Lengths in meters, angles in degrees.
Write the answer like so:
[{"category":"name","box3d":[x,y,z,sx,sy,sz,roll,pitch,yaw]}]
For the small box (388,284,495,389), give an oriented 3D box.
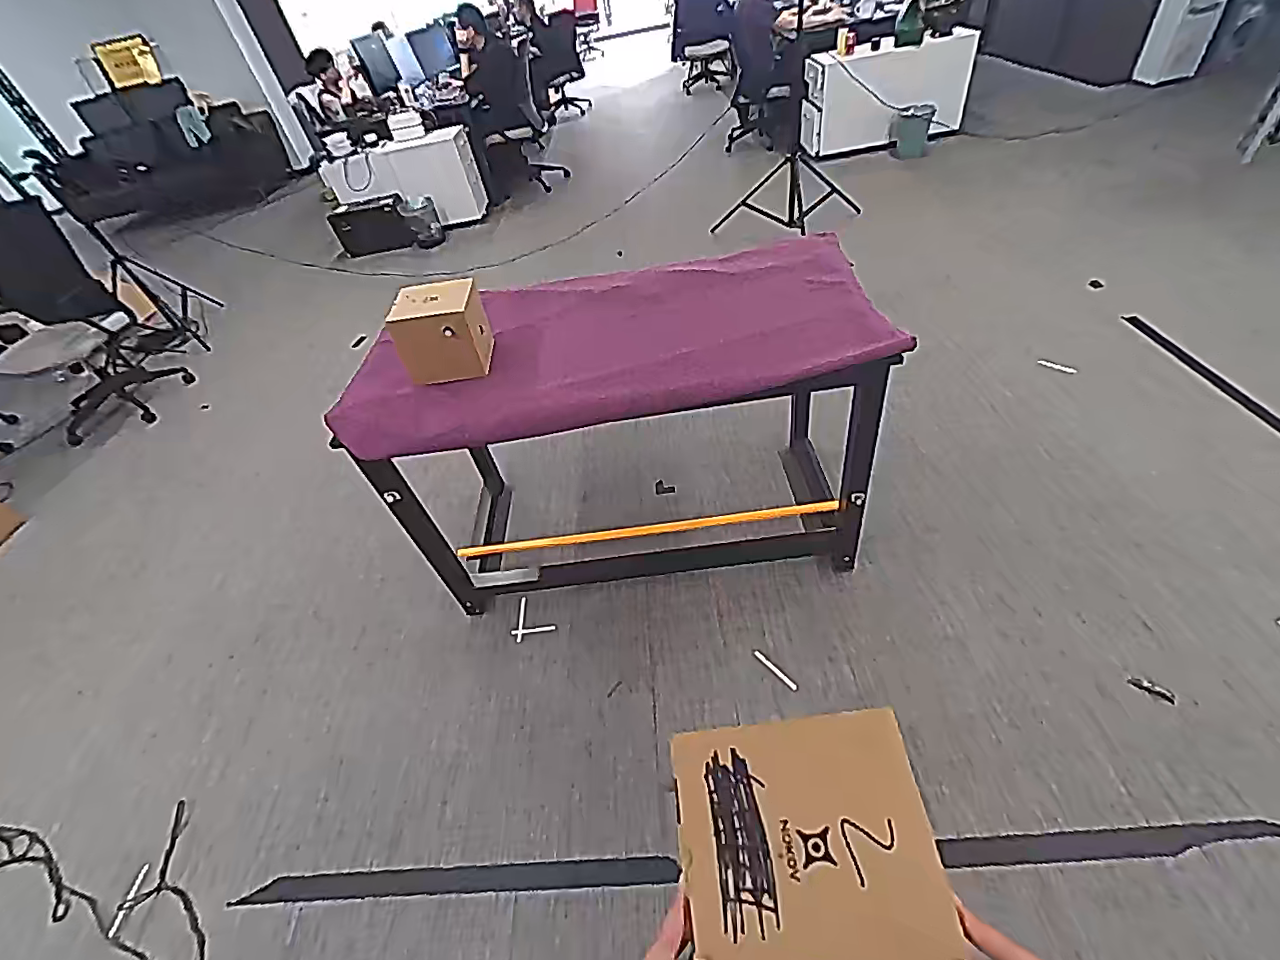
[{"category":"small box","box3d":[-0.453,-0.335,1.270,0.179,0.176,0.168,-8,44,1]}]
